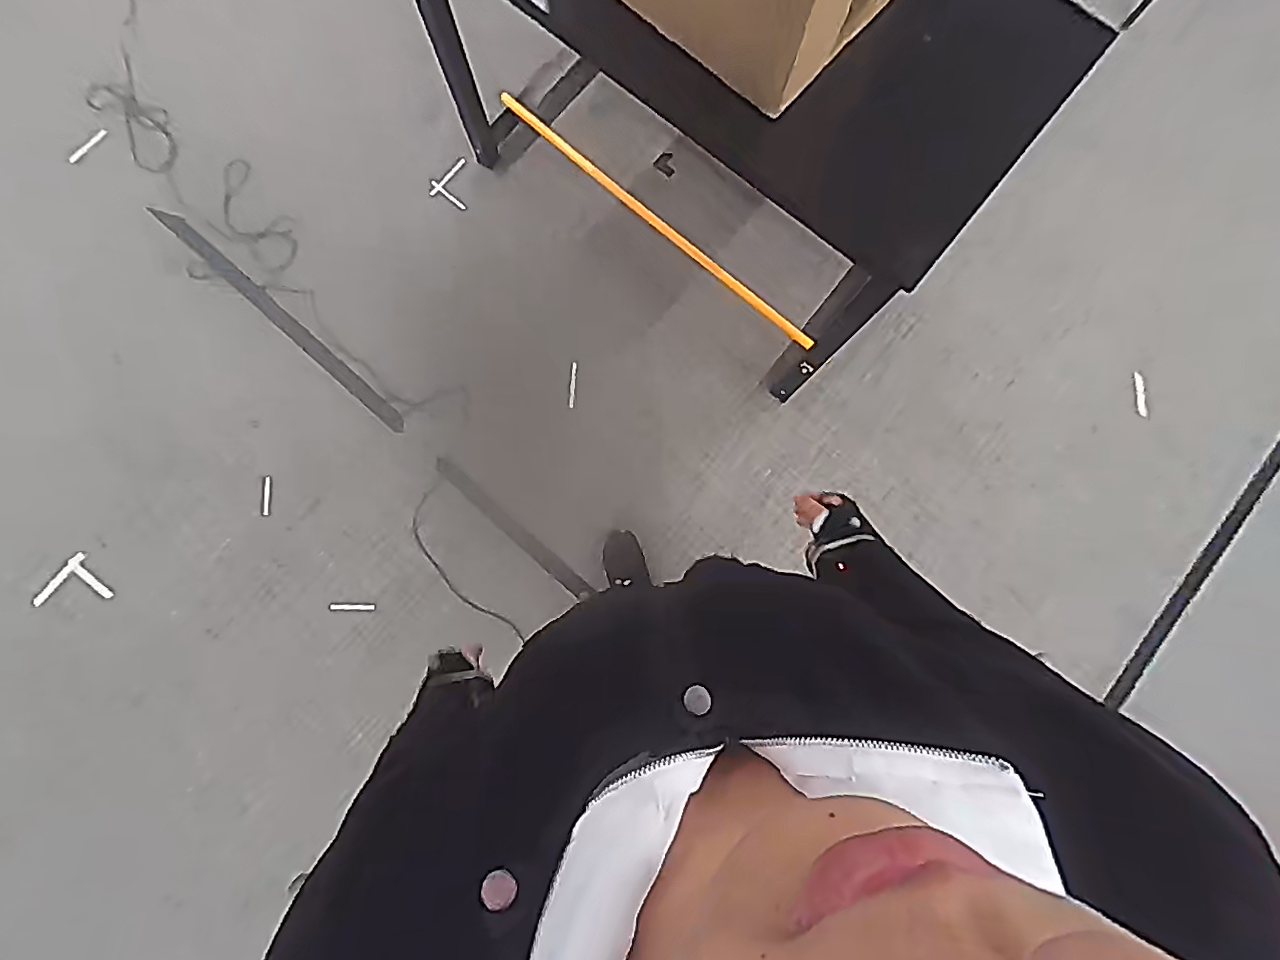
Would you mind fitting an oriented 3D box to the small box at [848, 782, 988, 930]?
[{"bbox_3d":[0.603,0.814,1.194,0.179,0.176,0.168,41,83,4],"label":"small box"}]

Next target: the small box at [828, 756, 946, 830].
[{"bbox_3d":[0.611,0.835,1.359,0.179,0.176,0.168,40,83,5],"label":"small box"}]
